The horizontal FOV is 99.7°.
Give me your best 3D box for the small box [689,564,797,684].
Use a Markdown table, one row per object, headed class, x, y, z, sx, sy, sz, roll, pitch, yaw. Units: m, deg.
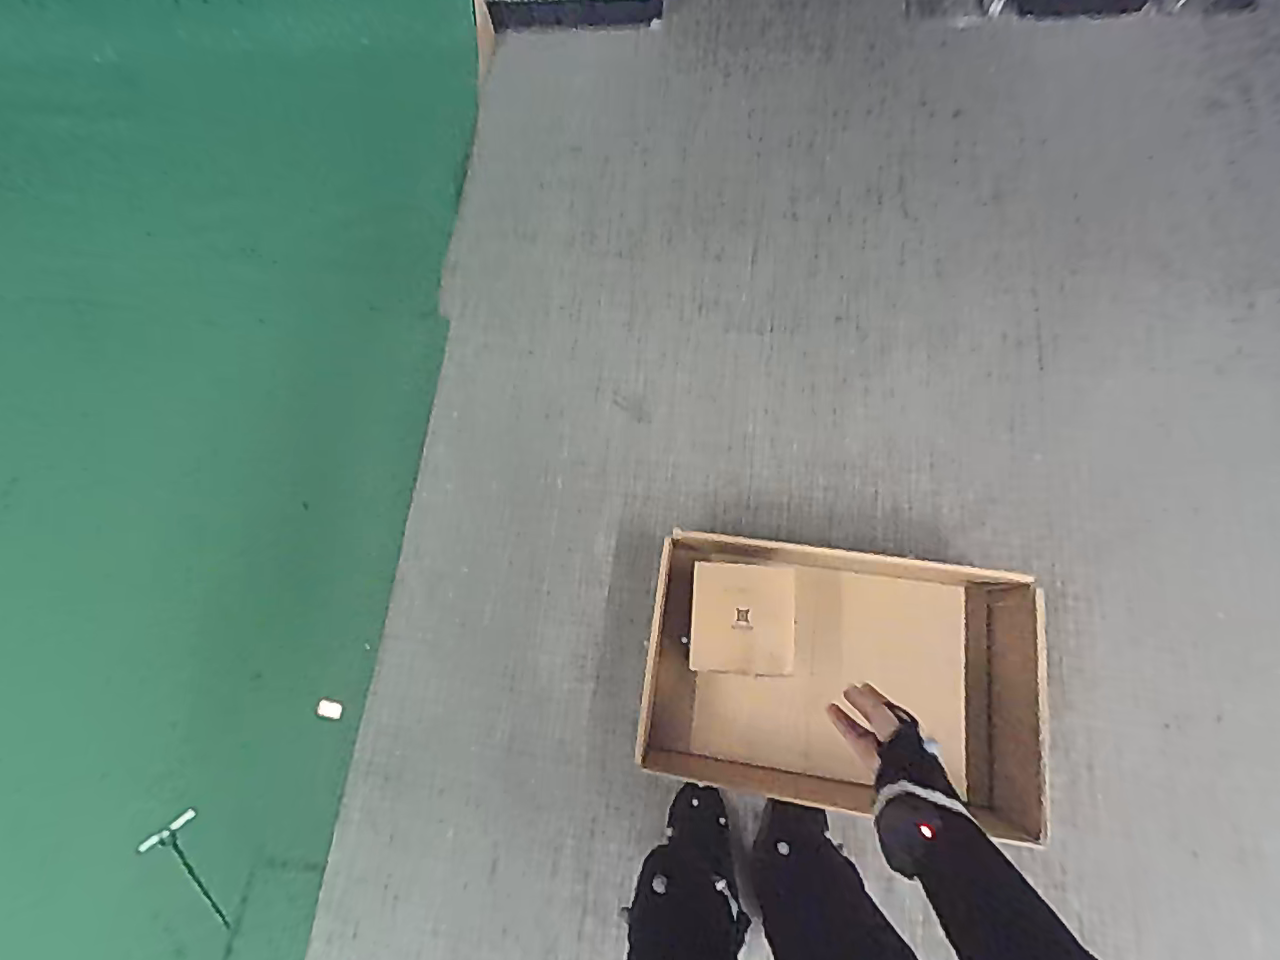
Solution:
| class | x | y | z | sx | sy | sz | roll | pitch | yaw |
| --- | --- | --- | --- | --- | --- | --- | --- | --- | --- |
| small box | 0.176 | 0.247 | 0.946 | 0.168 | 0.176 | 0.179 | 4 | 76 | 7 |
